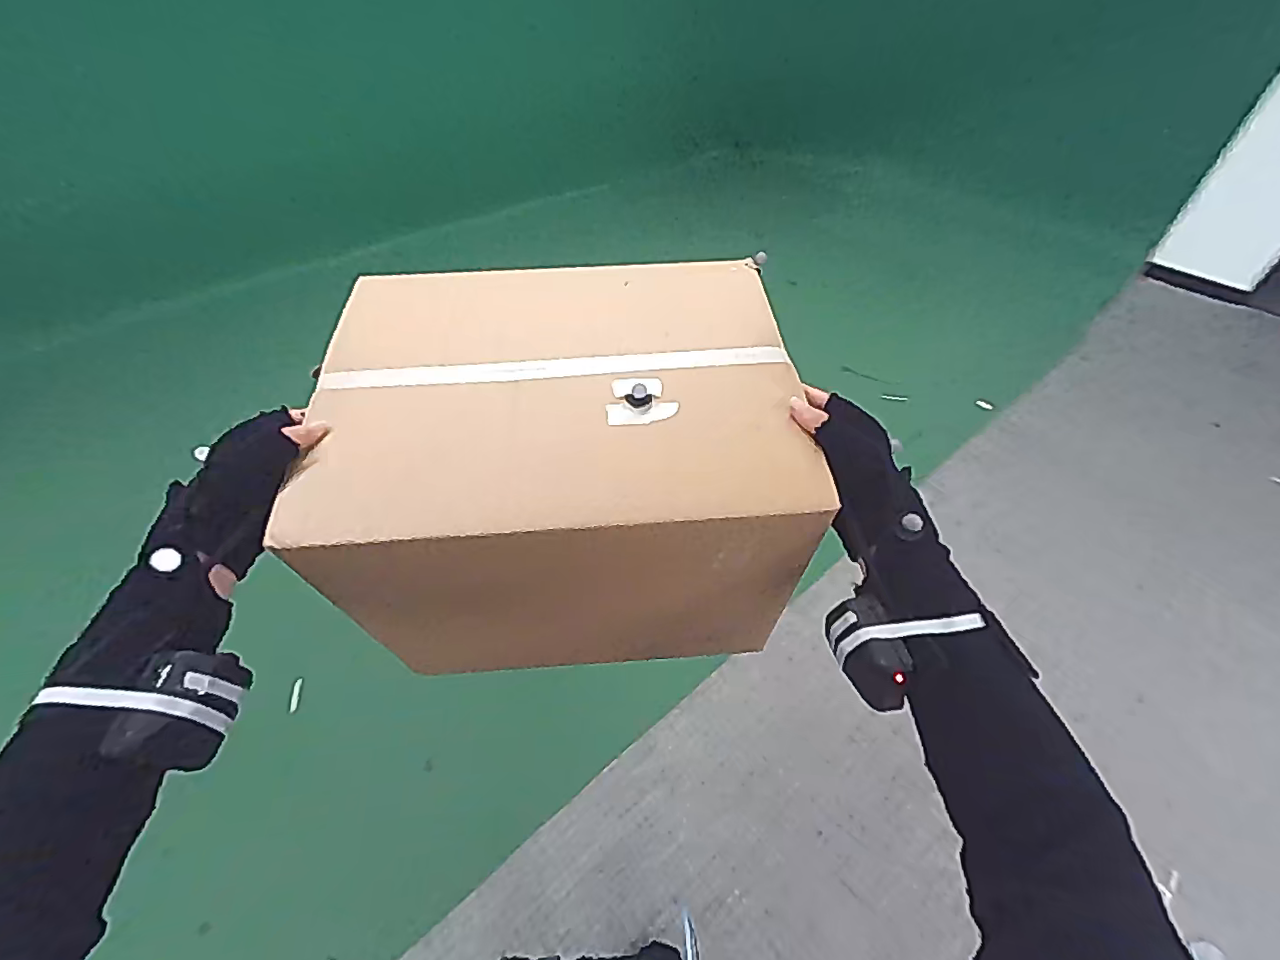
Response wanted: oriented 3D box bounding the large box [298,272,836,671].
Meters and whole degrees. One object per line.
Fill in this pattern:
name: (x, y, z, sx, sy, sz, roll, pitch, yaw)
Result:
large box: (-0.062, 0.000, 0.600, 0.408, 0.320, 0.320, -3, 55, -3)
